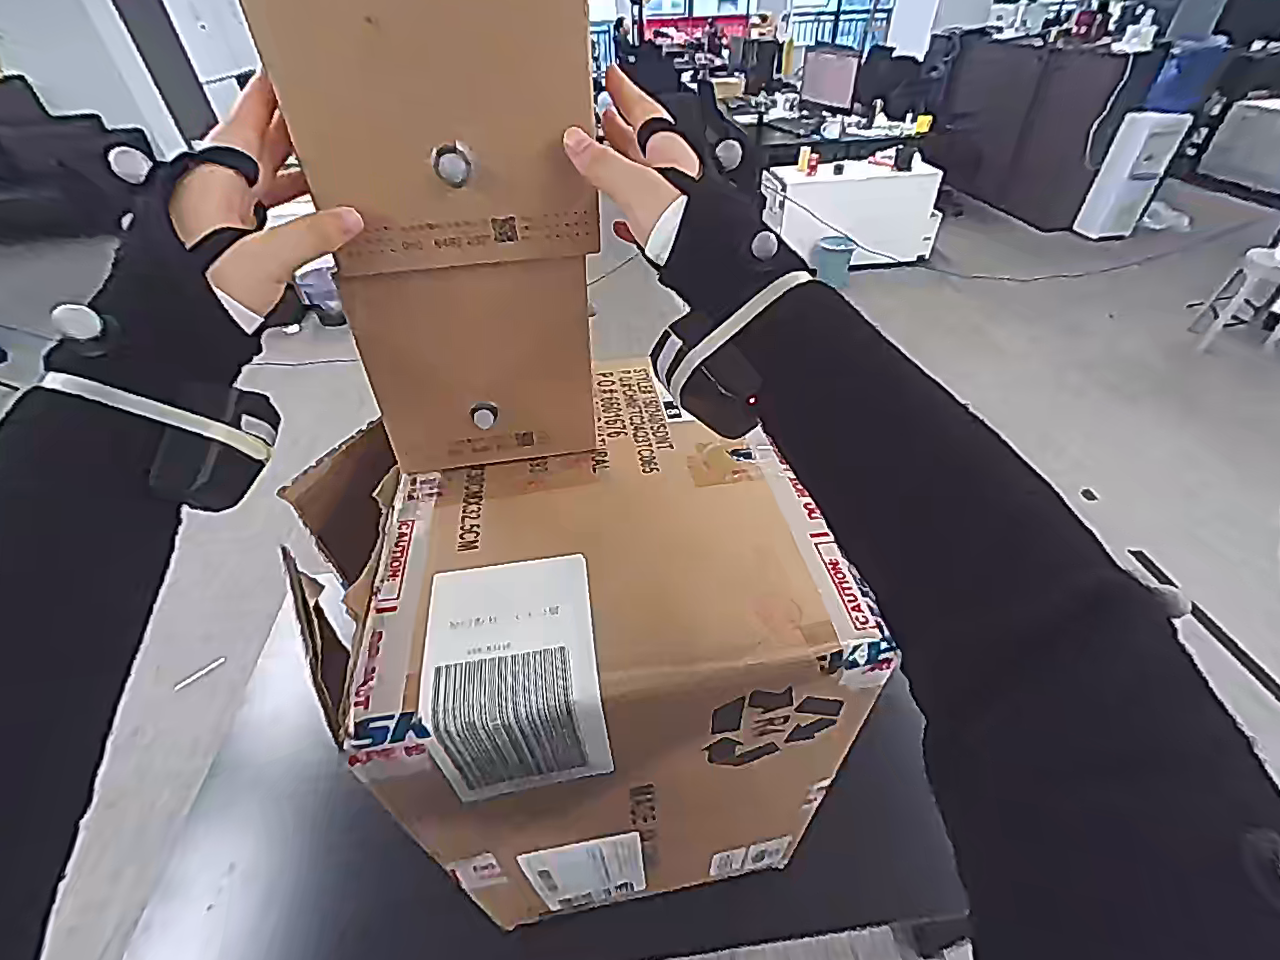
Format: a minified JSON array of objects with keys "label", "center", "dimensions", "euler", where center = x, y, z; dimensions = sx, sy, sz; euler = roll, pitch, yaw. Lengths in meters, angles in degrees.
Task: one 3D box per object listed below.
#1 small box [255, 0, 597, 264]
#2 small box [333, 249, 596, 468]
[{"label":"small box","center":[-0.126,-0.255,0.358],"dimensions":[0.168,0.176,0.179],"euler":[-10,40,-10]},{"label":"small box","center":[-0.132,-0.132,0.469],"dimensions":[0.168,0.176,0.179],"euler":[-8,41,-8]}]
